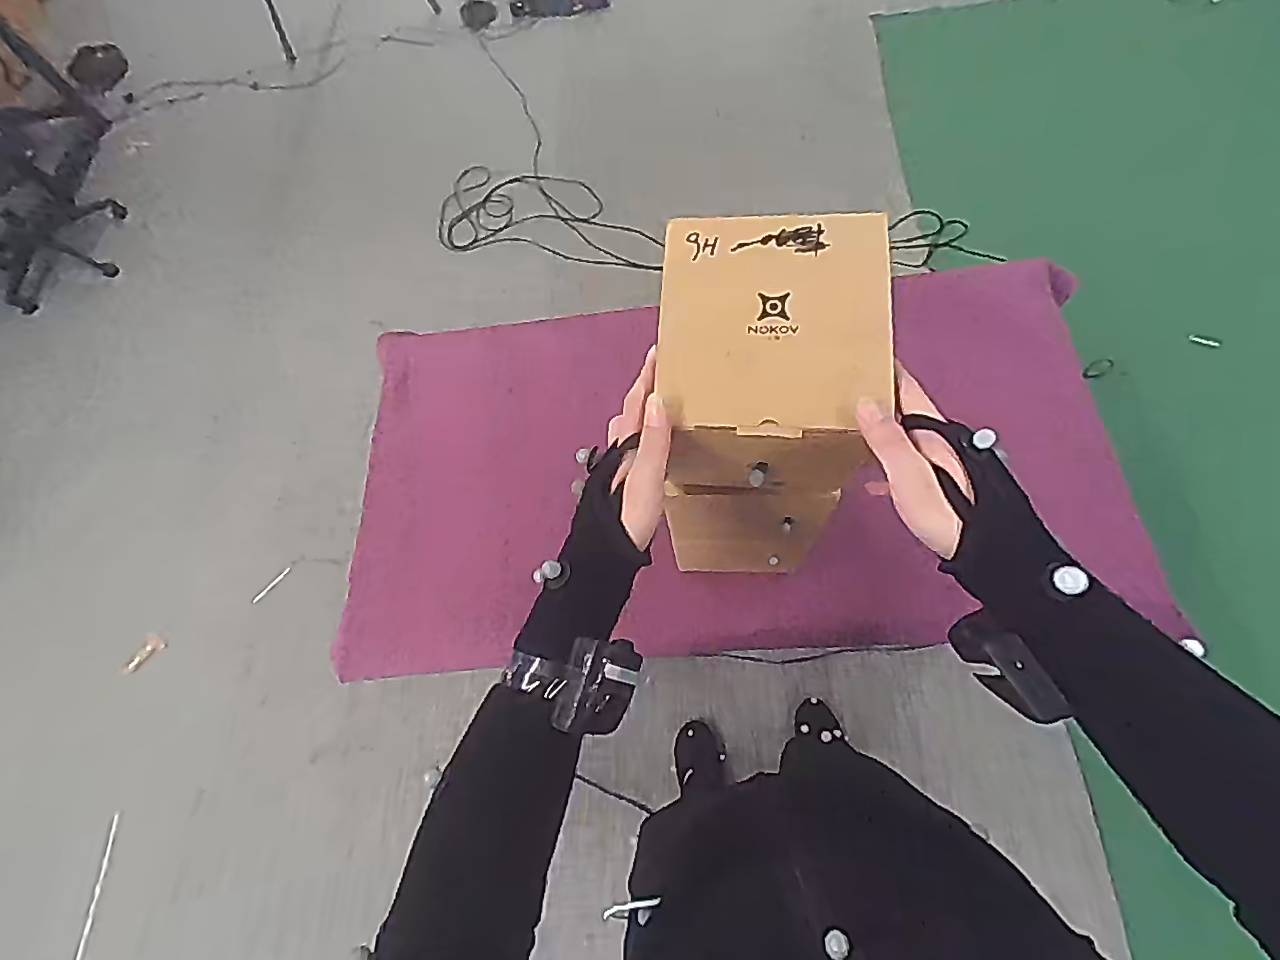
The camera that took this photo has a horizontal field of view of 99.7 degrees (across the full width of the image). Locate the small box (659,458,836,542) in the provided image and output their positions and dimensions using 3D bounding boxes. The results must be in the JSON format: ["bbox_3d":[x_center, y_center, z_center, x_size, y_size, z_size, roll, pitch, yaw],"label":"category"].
[{"bbox_3d":[0.118,-0.029,0.634,0.179,0.176,0.168,-1,68,8],"label":"small box"}]

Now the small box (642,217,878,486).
[{"bbox_3d":[0.100,-0.096,0.472,0.168,0.176,0.179,3,76,9],"label":"small box"}]
